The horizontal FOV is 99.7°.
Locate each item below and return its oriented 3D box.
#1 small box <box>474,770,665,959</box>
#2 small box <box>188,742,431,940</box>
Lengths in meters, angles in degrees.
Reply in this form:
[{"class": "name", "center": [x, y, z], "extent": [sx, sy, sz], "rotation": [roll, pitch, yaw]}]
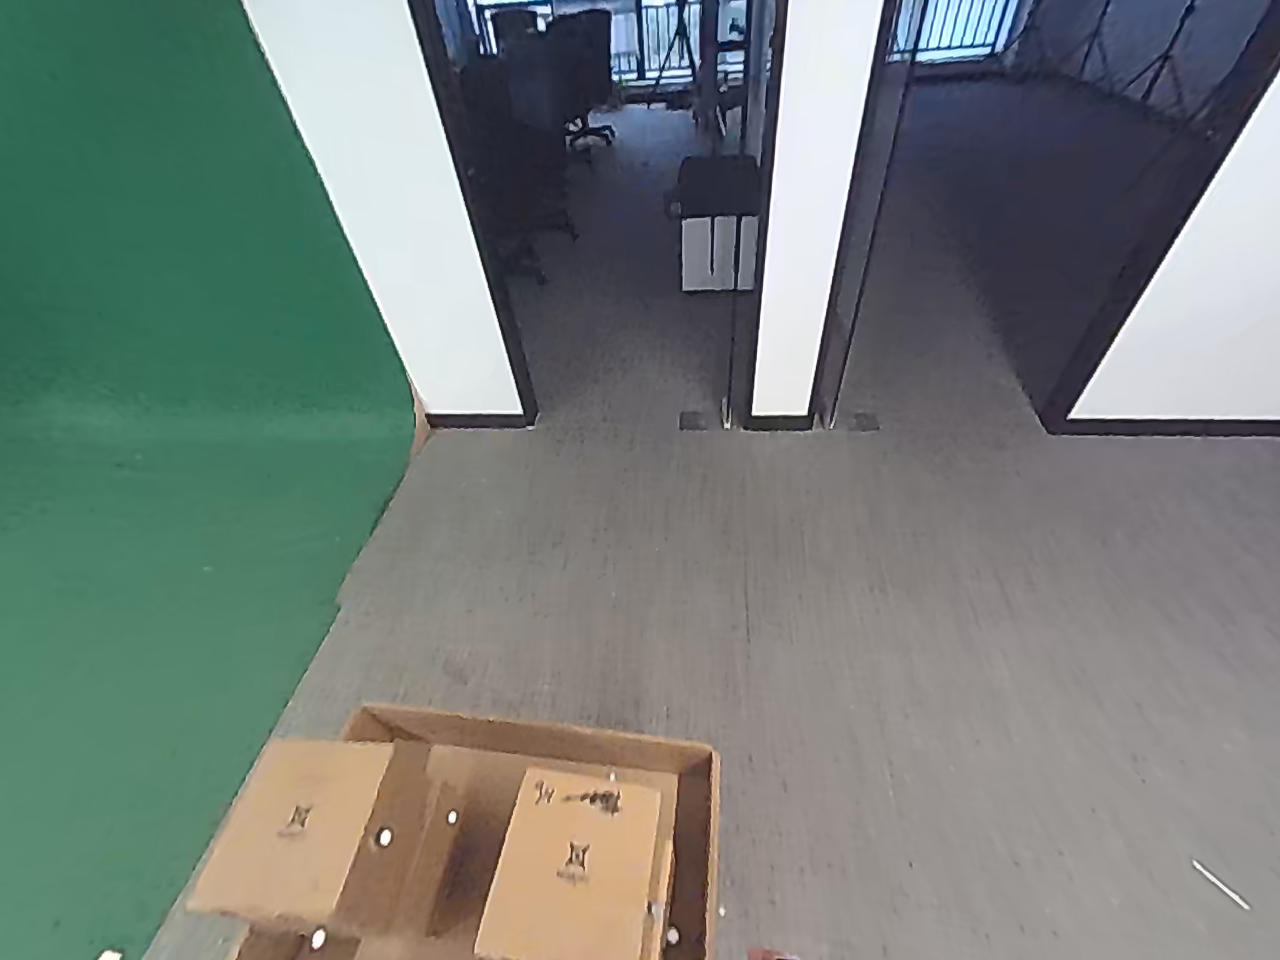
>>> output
[{"class": "small box", "center": [-0.064, 0.467, 0.627], "extent": [0.168, 0.176, 0.179], "rotation": [4, 47, 9]}, {"class": "small box", "center": [-0.386, 0.452, 0.676], "extent": [0.168, 0.176, 0.179], "rotation": [0, 45, 5]}]
